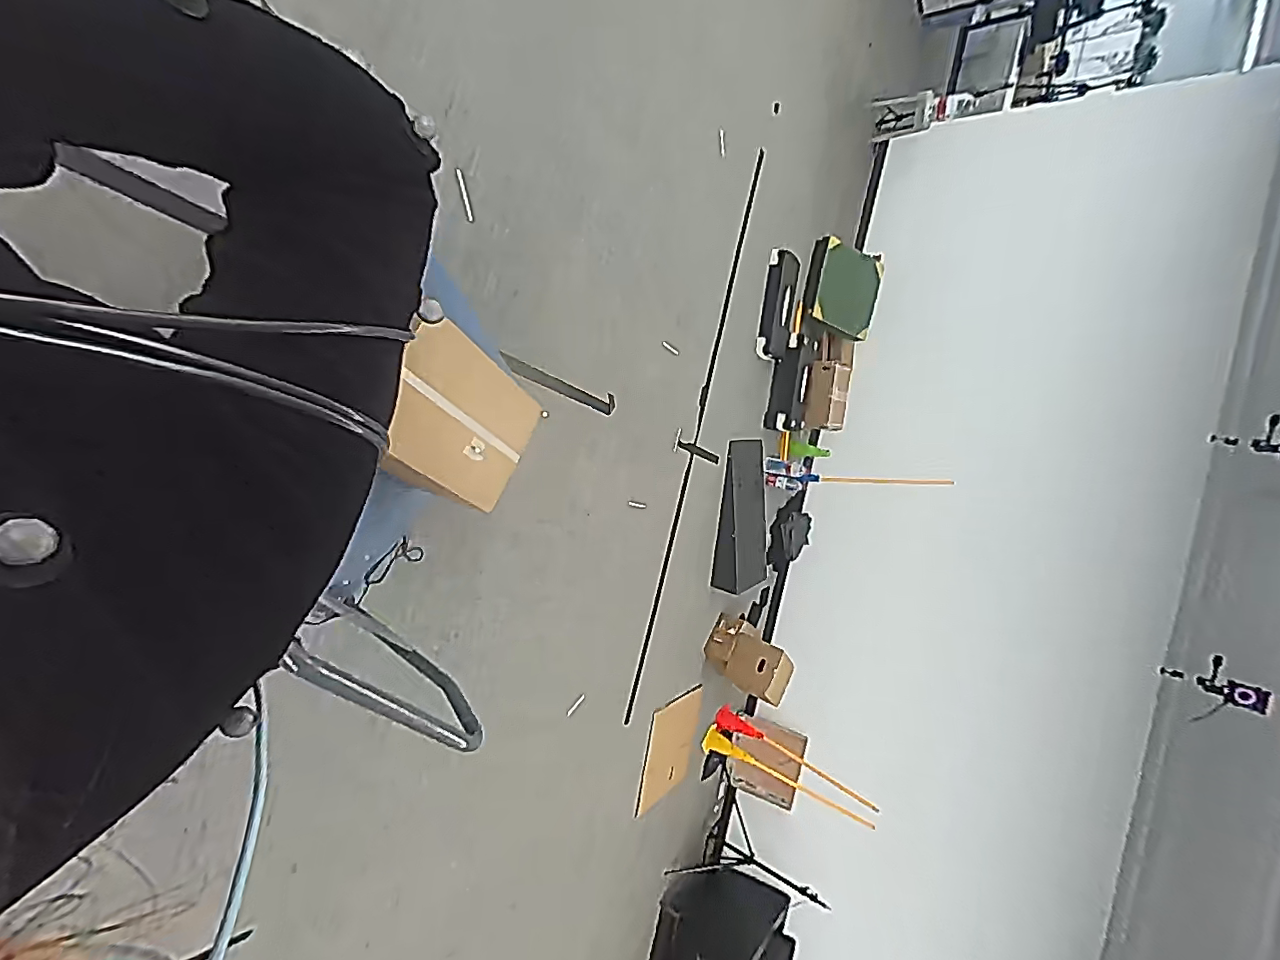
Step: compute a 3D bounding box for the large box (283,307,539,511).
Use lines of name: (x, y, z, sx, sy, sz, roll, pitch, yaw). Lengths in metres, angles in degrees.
large box: (-0.529, -0.165, 1.302, 0.408, 0.320, 0.320, 46, 64, -52)
